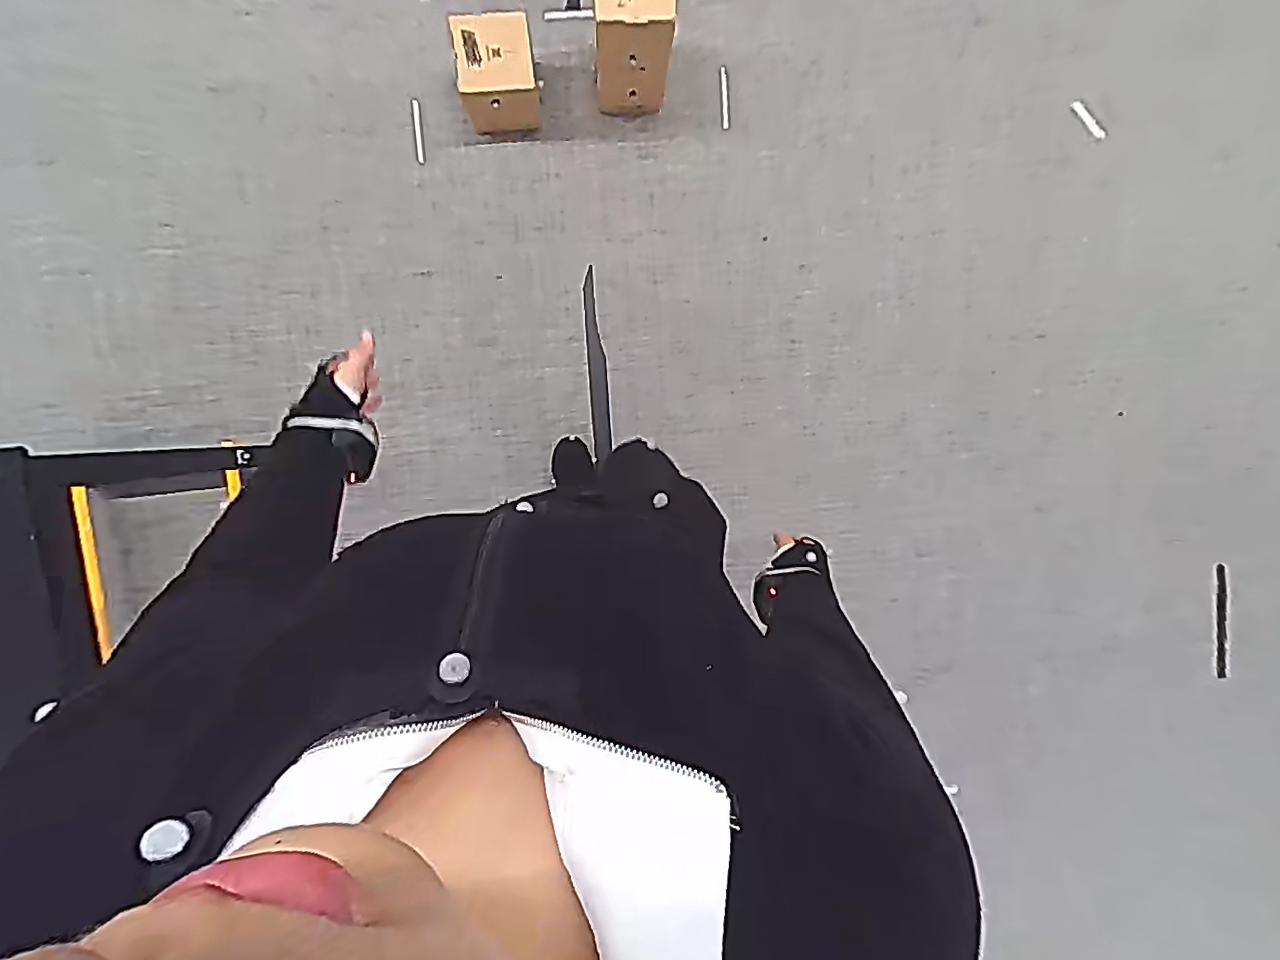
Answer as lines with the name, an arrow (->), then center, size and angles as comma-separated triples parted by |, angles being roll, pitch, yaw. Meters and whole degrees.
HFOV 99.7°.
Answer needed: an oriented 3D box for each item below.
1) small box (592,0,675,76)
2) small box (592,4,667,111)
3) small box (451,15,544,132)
small box -> -0.018, -1.018, 1.164 | 0.168, 0.176, 0.179 | -3, 96, -3
small box -> -0.025, -1.040, 1.329 | 0.168, 0.176, 0.179 | -5, 96, -3
small box -> -0.339, -0.976, 1.313 | 0.179, 0.176, 0.168 | -7, 96, -3
